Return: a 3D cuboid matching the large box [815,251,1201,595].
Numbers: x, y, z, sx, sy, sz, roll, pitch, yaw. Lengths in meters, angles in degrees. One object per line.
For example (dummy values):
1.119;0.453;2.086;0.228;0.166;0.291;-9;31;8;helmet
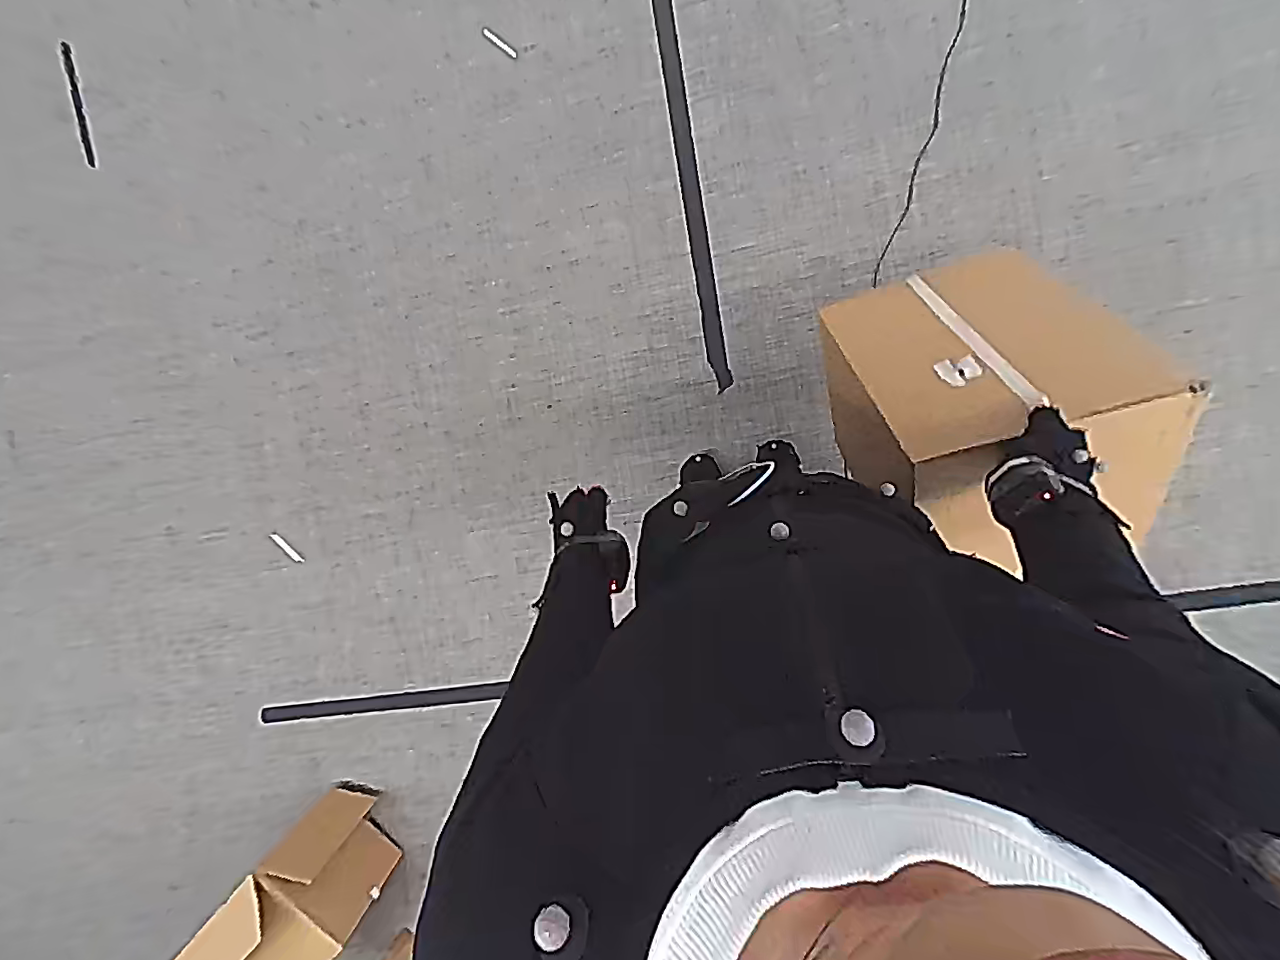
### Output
0.506;-0.094;0.860;0.320;0.408;0.320;-18;133;11;large box
